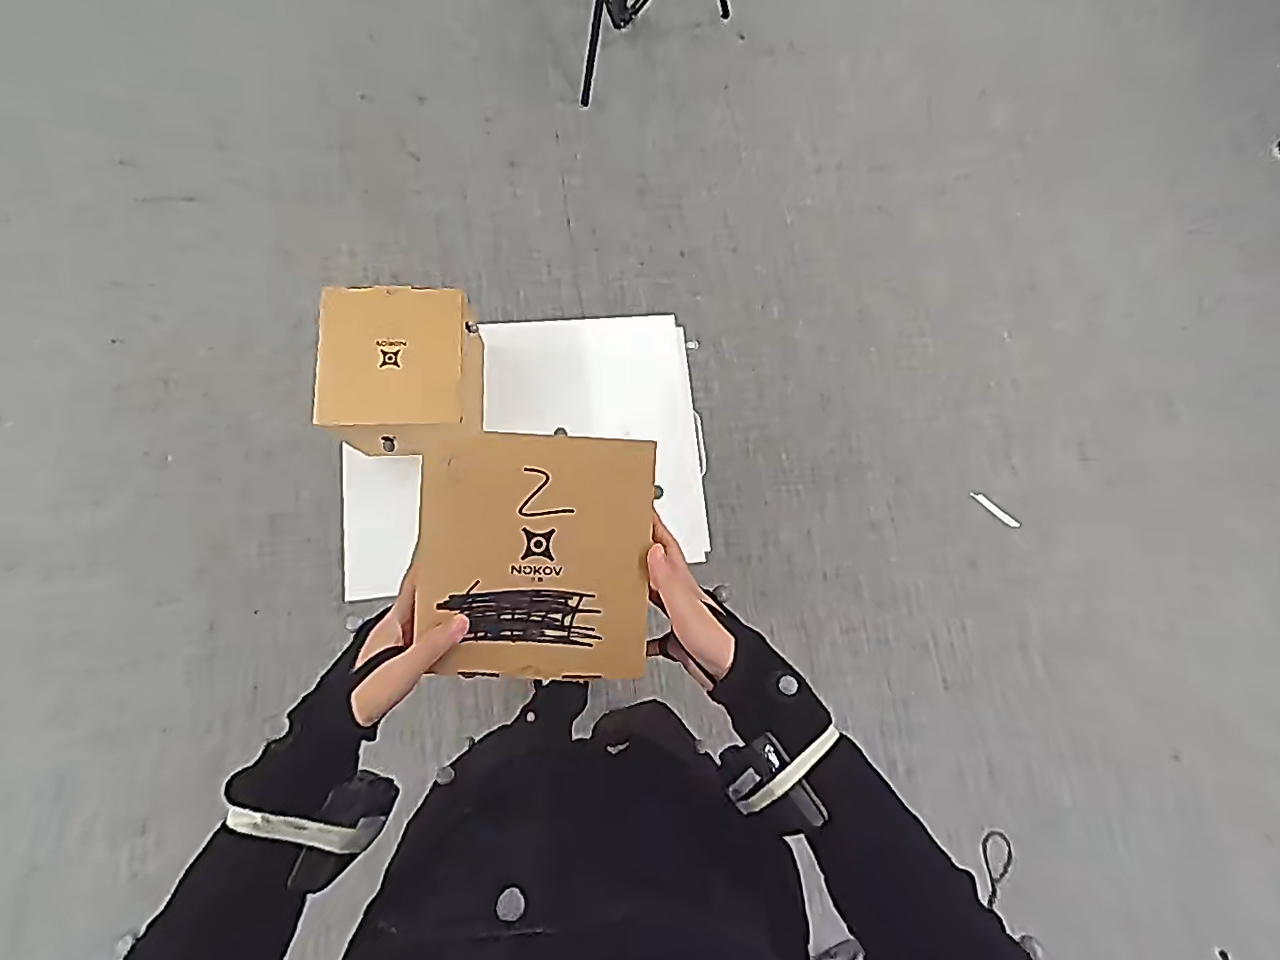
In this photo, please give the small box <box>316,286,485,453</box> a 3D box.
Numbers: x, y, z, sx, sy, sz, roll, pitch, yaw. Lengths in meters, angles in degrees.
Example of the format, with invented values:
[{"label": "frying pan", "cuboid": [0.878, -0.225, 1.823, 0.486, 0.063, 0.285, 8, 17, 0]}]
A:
[{"label": "small box", "cuboid": [-0.302, -0.134, 0.716, 0.168, 0.176, 0.179, -2, 80, -7]}]
